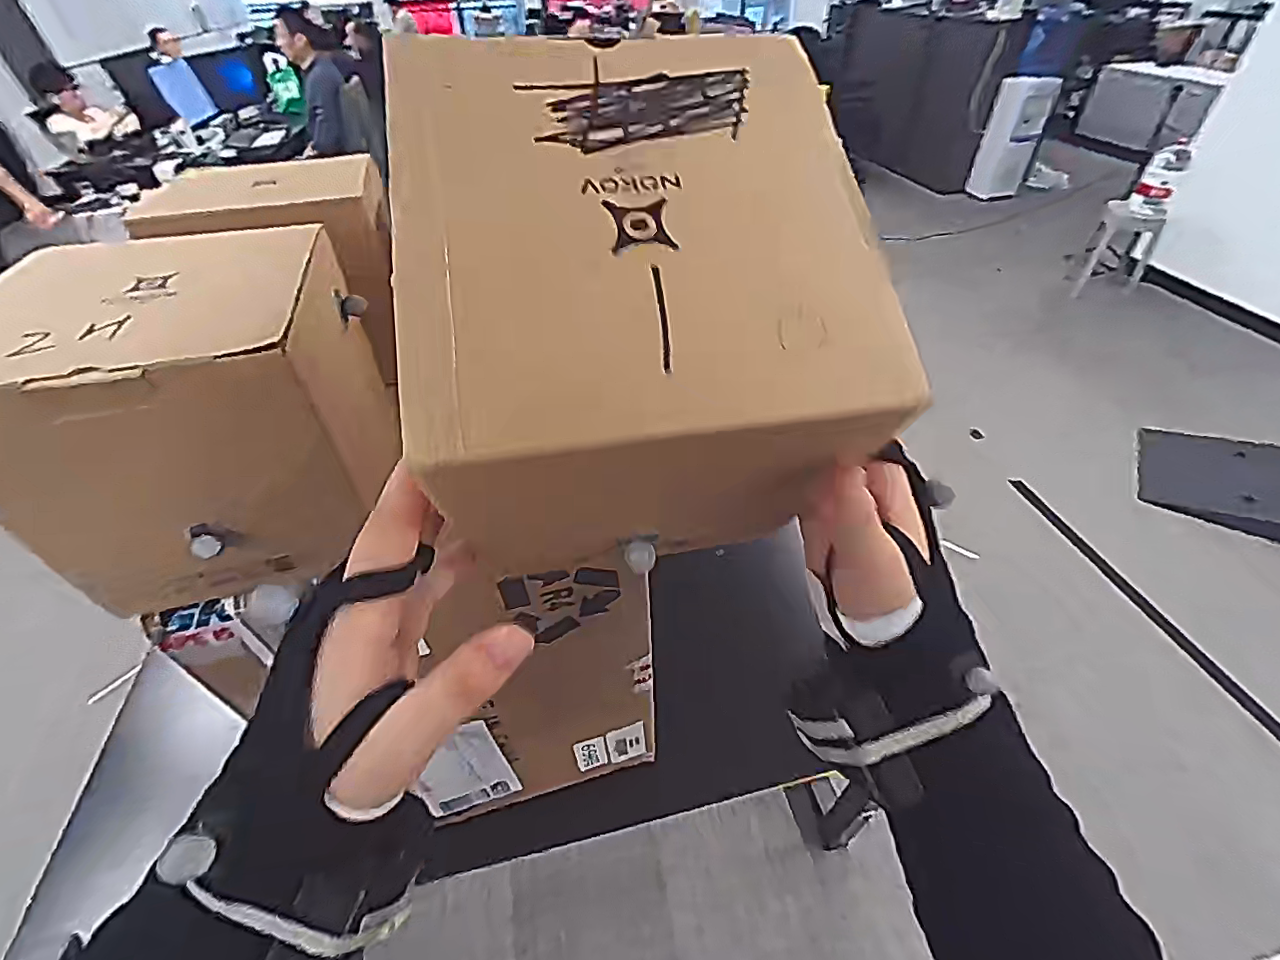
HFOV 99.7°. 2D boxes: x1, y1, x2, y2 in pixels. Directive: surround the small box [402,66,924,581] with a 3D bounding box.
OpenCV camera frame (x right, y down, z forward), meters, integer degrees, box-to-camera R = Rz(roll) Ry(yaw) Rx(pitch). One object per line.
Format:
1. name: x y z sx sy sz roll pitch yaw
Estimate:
1. small box: -0.007 -0.060 0.267 0.168 0.176 0.179 -7 71 -8
